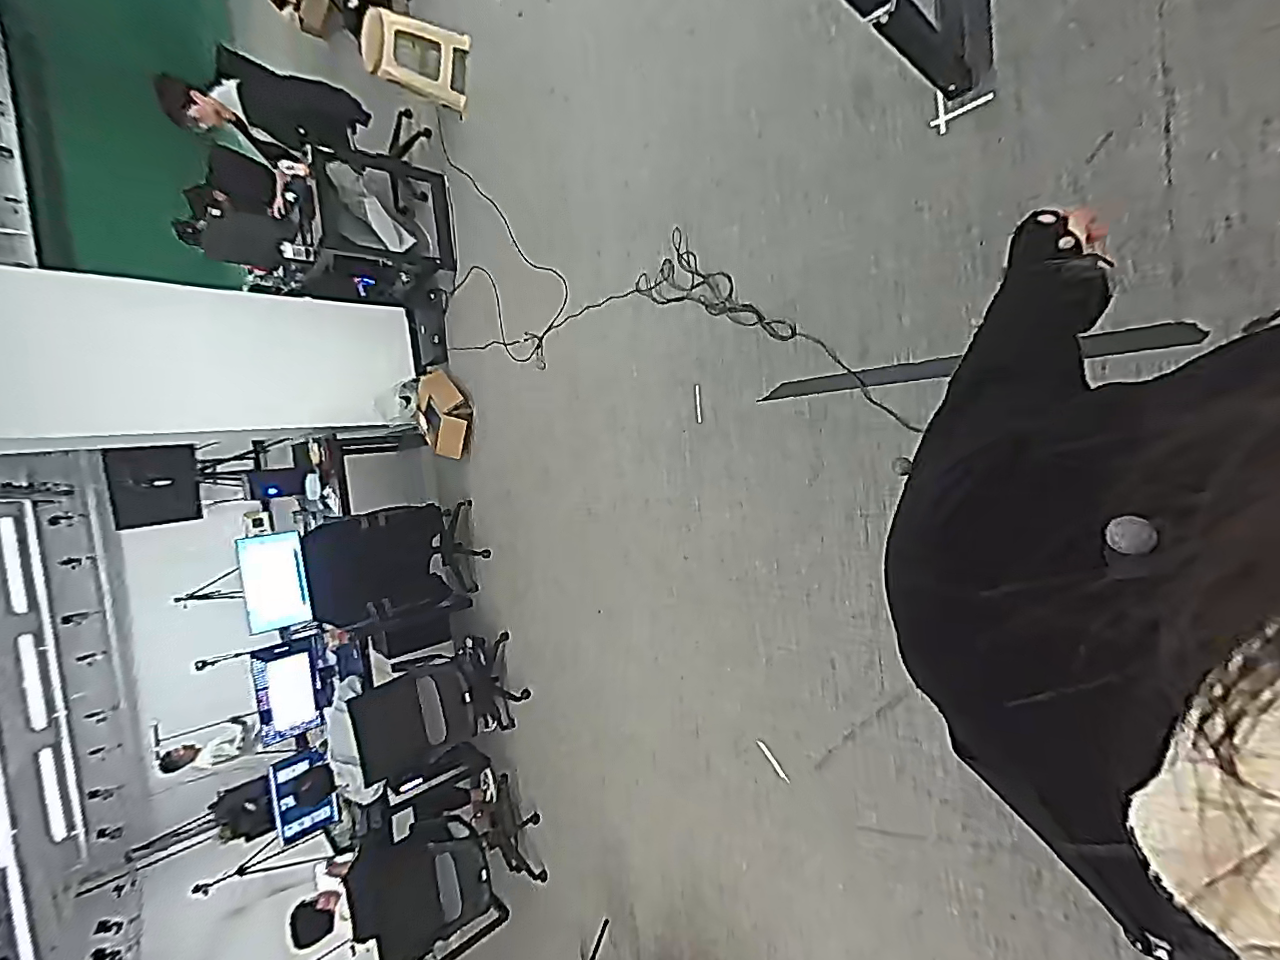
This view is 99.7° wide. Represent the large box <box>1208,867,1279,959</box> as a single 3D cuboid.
[{"bbox_3d":[1.065,0.843,0.730,0.408,0.320,0.320,0,97,47],"label":"large box"}]

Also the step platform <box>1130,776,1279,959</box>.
[{"bbox_3d":[1.252,0.801,0.873,0.684,0.204,0.286,8,102,47],"label":"step platform"}]
